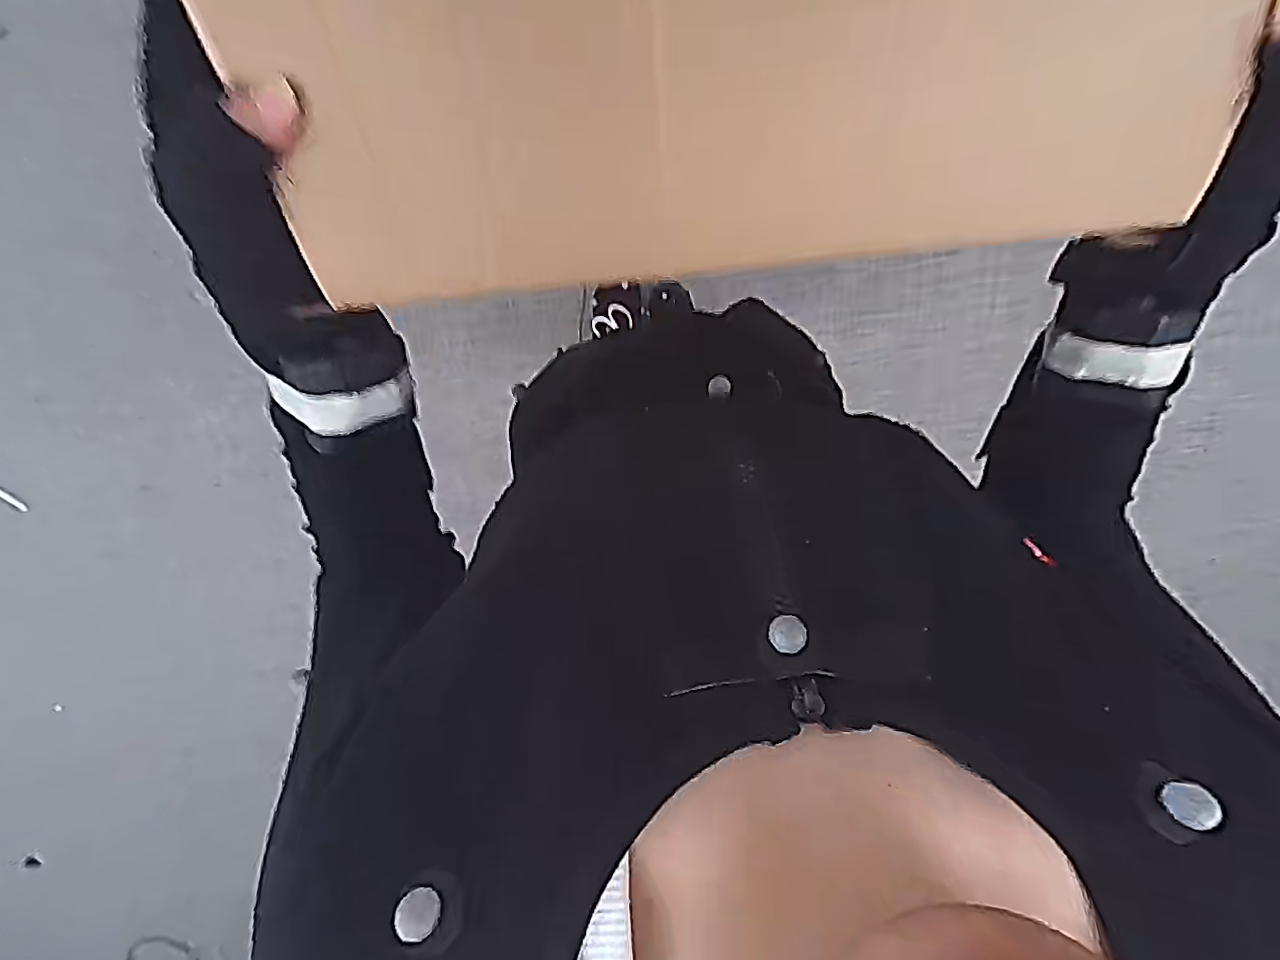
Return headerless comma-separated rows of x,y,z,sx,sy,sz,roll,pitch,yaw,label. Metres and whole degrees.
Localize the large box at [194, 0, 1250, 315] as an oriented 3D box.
0.028,-0.315,0.285,0.408,0.320,0.320,-5,128,2,large box
